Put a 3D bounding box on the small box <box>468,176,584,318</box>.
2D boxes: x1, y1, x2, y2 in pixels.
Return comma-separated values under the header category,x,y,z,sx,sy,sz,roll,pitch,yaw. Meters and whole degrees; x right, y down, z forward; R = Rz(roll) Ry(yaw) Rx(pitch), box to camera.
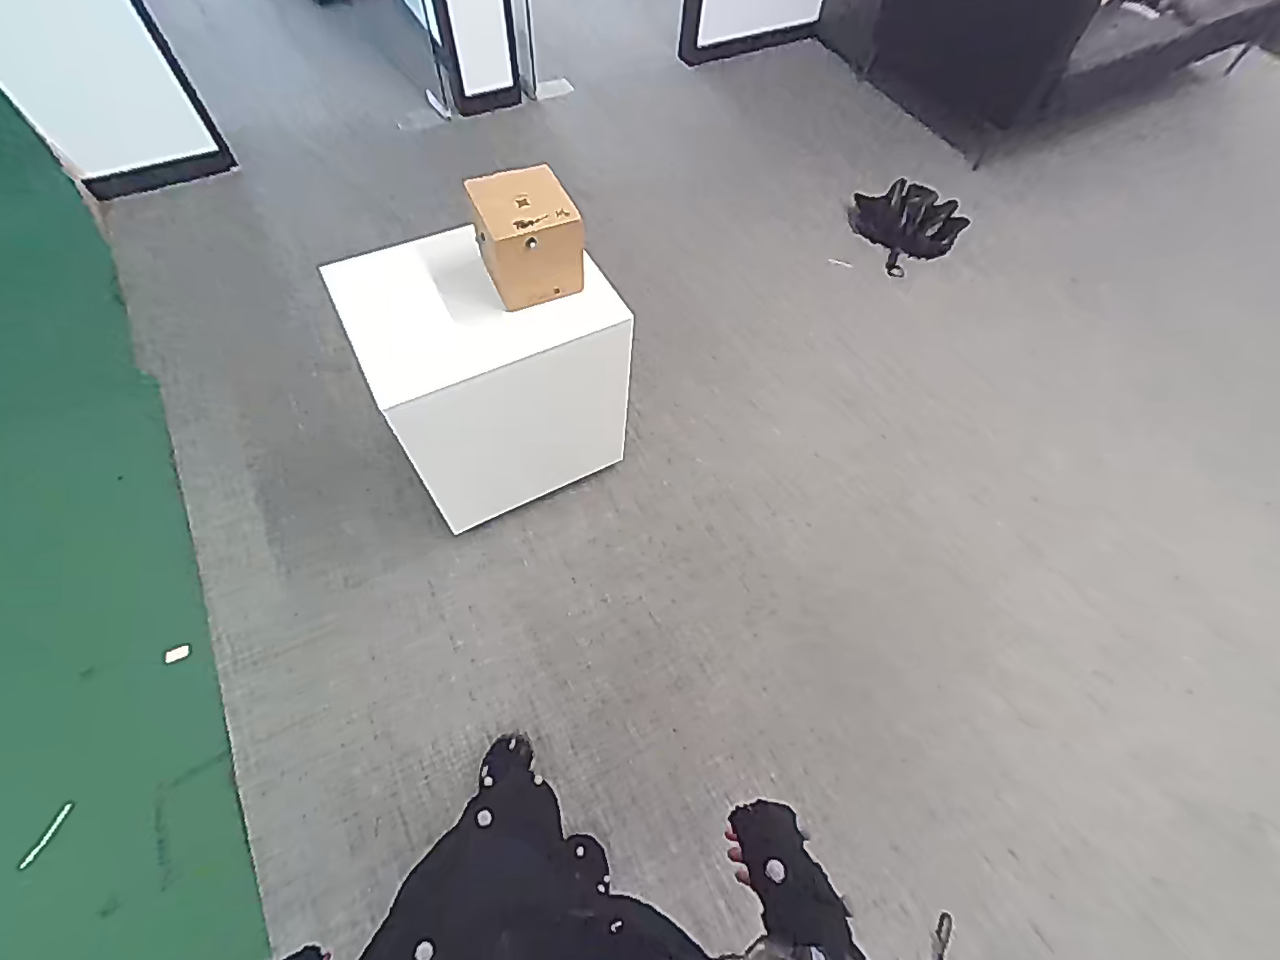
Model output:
category,x,y,z,sx,sy,sz,roll,pitch,yaw
small box,-0.217,-0.453,1.059,0.168,0.176,0.179,-22,64,-14
